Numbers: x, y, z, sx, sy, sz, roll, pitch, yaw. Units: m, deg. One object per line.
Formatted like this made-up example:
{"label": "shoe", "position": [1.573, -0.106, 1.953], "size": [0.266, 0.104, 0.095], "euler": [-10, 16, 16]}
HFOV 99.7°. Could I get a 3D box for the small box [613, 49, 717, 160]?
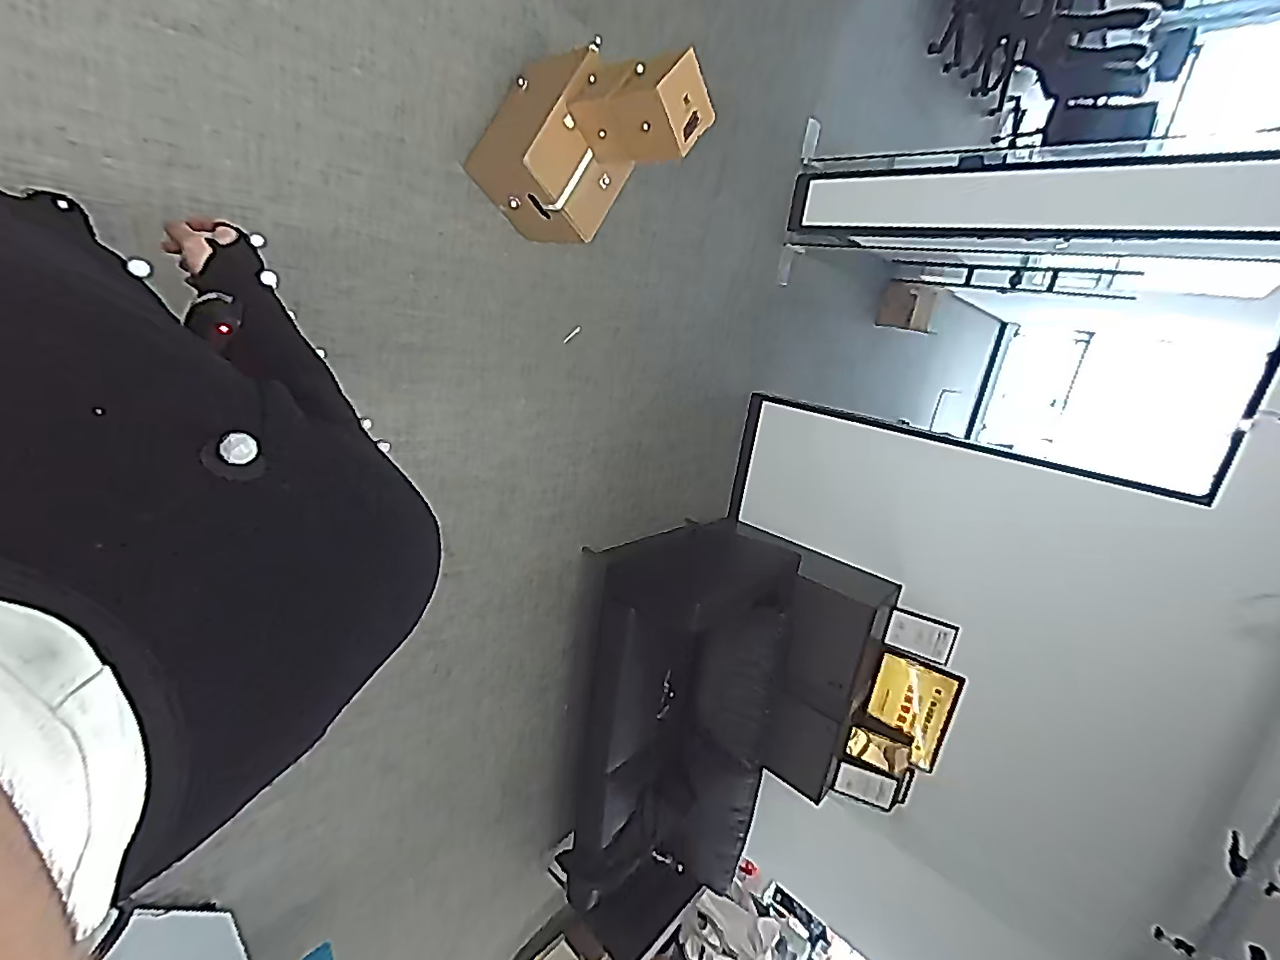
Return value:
{"label": "small box", "position": [0.064, -0.955, 1.391], "size": [0.168, 0.176, 0.179], "euler": [-55, 139, -15]}
